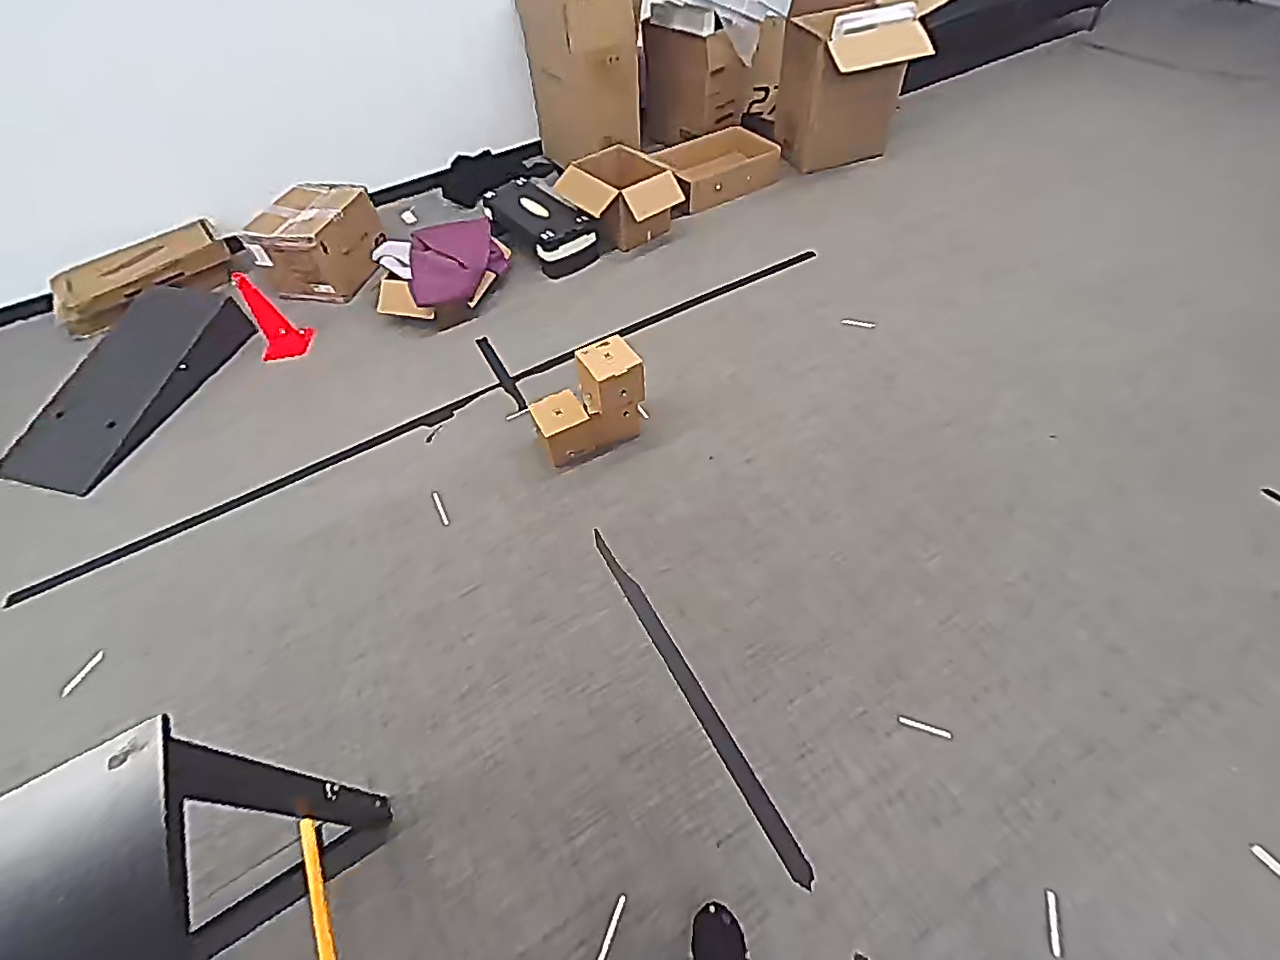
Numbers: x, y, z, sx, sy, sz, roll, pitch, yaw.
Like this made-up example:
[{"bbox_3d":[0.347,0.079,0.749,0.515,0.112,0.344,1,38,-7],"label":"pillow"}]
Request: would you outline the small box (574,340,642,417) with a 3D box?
[{"bbox_3d":[-0.103,-0.334,1.823,0.168,0.176,0.179,-26,56,-15],"label":"small box"}]
